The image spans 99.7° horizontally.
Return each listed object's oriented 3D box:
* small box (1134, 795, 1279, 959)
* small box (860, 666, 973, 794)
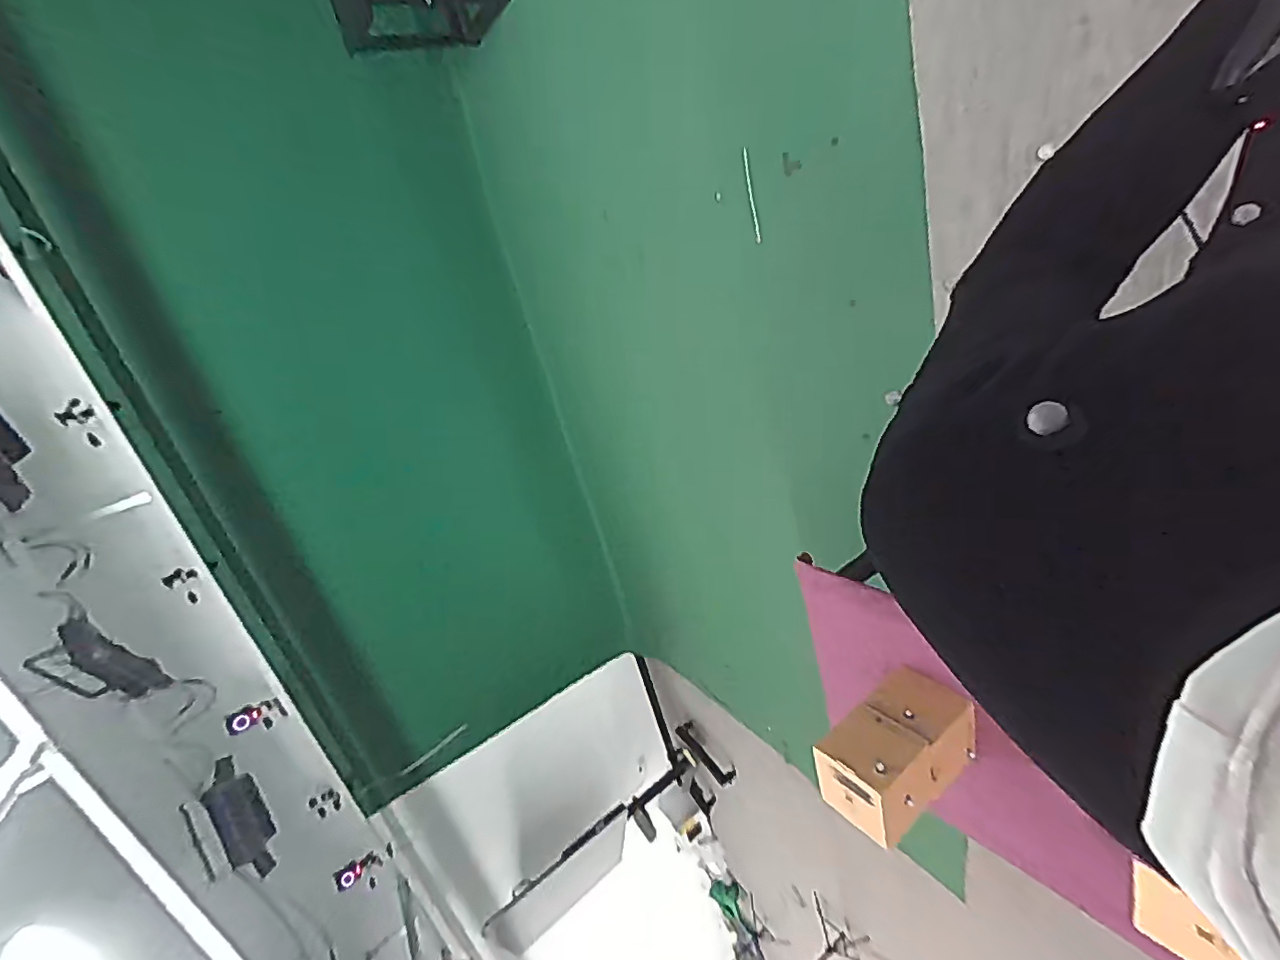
[{"bbox_3d":[0.905,0.628,0.830,0.179,0.176,0.168,12,123,57],"label":"small box"},{"bbox_3d":[0.641,0.563,1.247,0.179,0.176,0.168,20,130,55],"label":"small box"}]
